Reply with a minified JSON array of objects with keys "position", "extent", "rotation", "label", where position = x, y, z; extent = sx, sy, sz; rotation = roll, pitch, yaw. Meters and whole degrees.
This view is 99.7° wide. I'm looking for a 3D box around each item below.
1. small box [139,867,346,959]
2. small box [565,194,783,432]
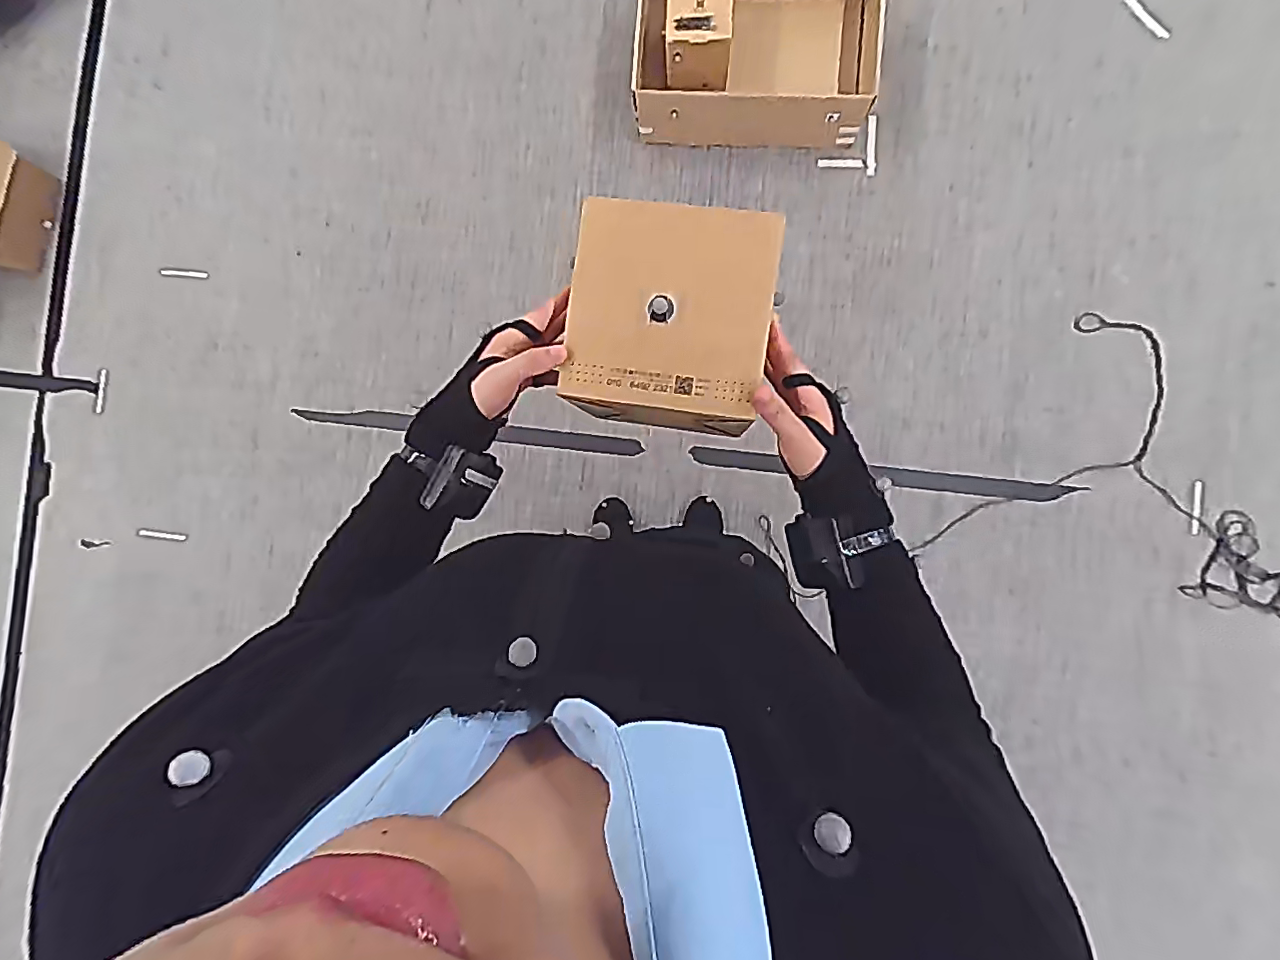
[{"position":[-0.519,0.663,0.707],"extent":[0.168,0.176,0.179],"rotation":[10,89,5],"label":"small box"},{"position":[0.033,-0.141,0.515],"extent":[0.168,0.179,0.176],"rotation":[9,92,6],"label":"small box"}]
